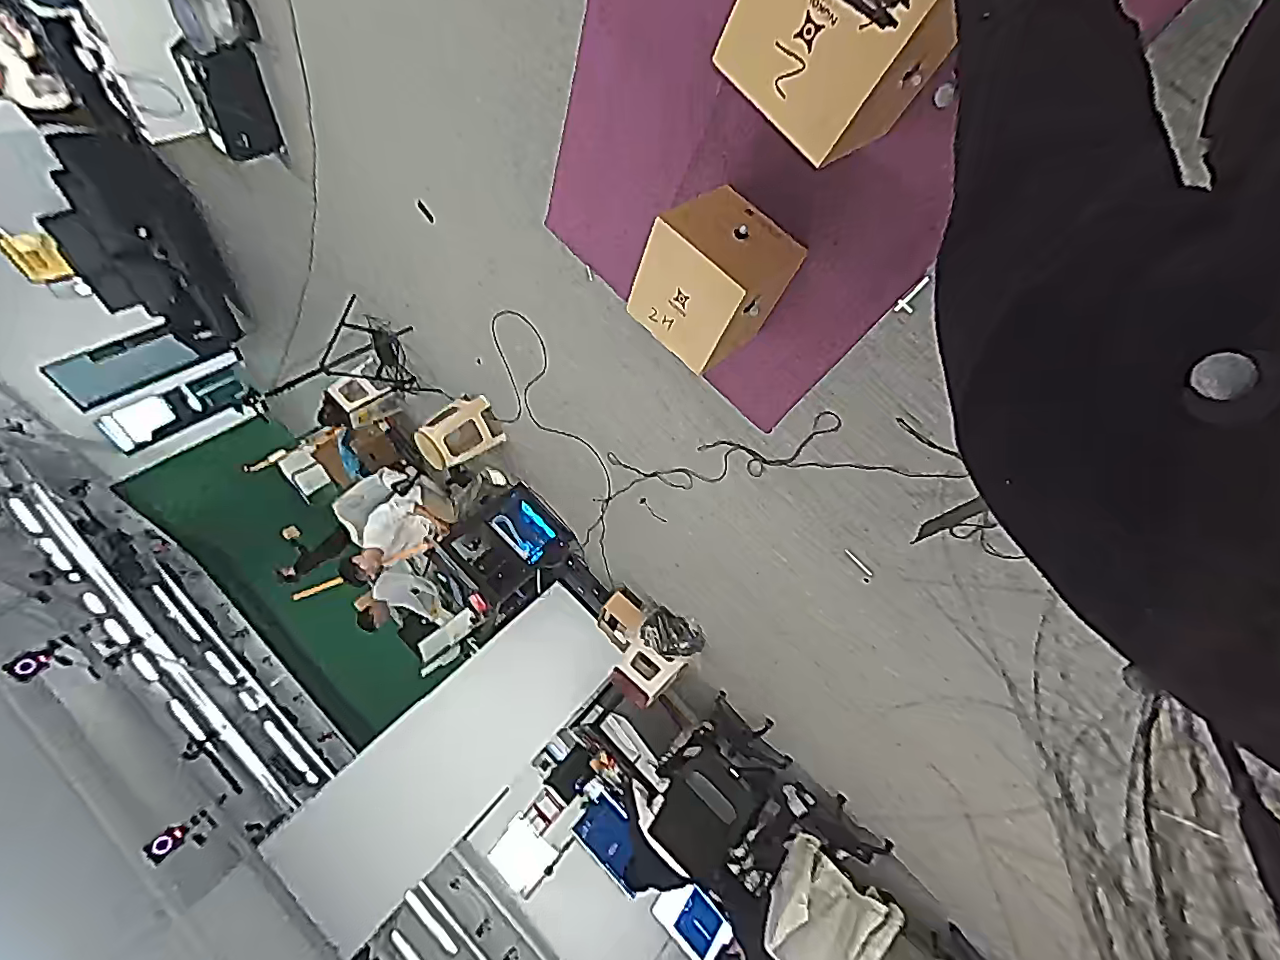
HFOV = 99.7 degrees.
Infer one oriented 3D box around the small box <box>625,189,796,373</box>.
[{"bbox_3d":[0.108,-0.304,0.820,0.168,0.176,0.179,45,148,10],"label":"small box"}]
